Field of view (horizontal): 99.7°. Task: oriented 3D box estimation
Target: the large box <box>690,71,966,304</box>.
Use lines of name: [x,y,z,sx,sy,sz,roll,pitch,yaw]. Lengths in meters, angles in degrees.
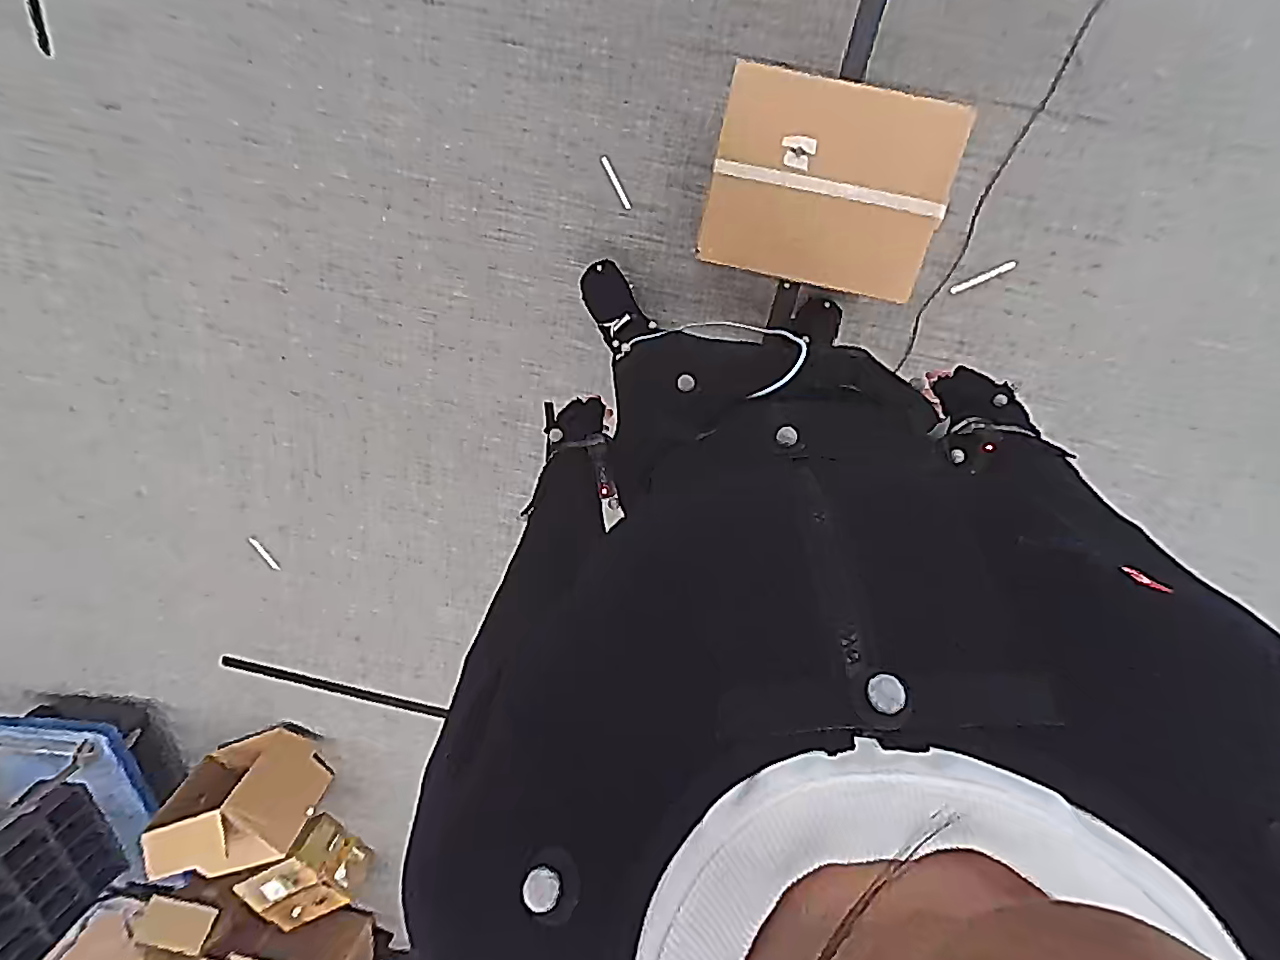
large box: [0.336,-0.557,1.084,0.408,0.320,0.320,14,112,3]
